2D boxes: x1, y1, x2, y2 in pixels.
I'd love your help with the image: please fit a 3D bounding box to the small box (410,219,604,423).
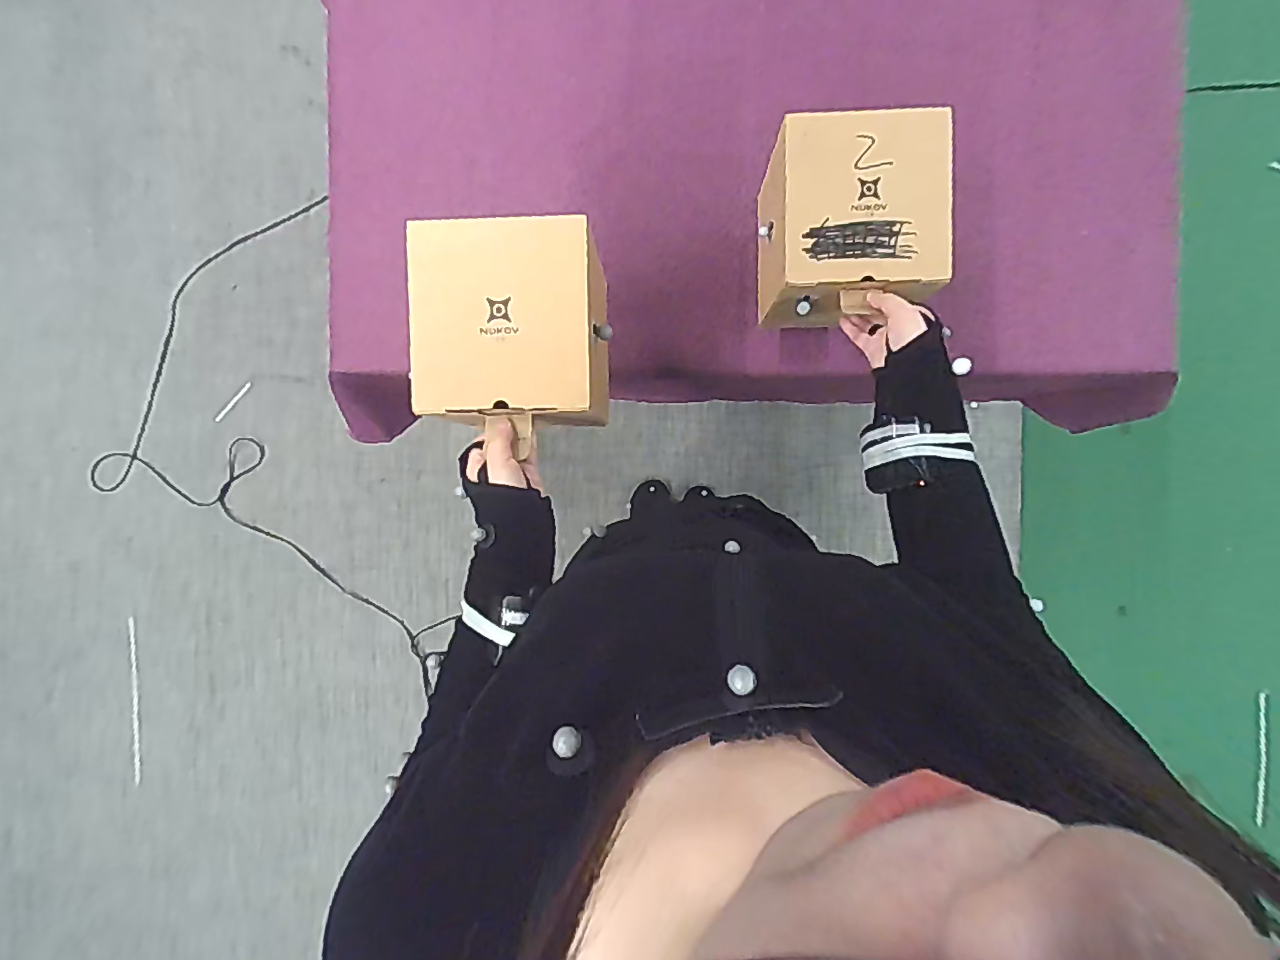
[{"bbox_3d":[-0.129,-0.155,0.581,0.168,0.176,0.179,-1,92,2],"label":"small box"}]
